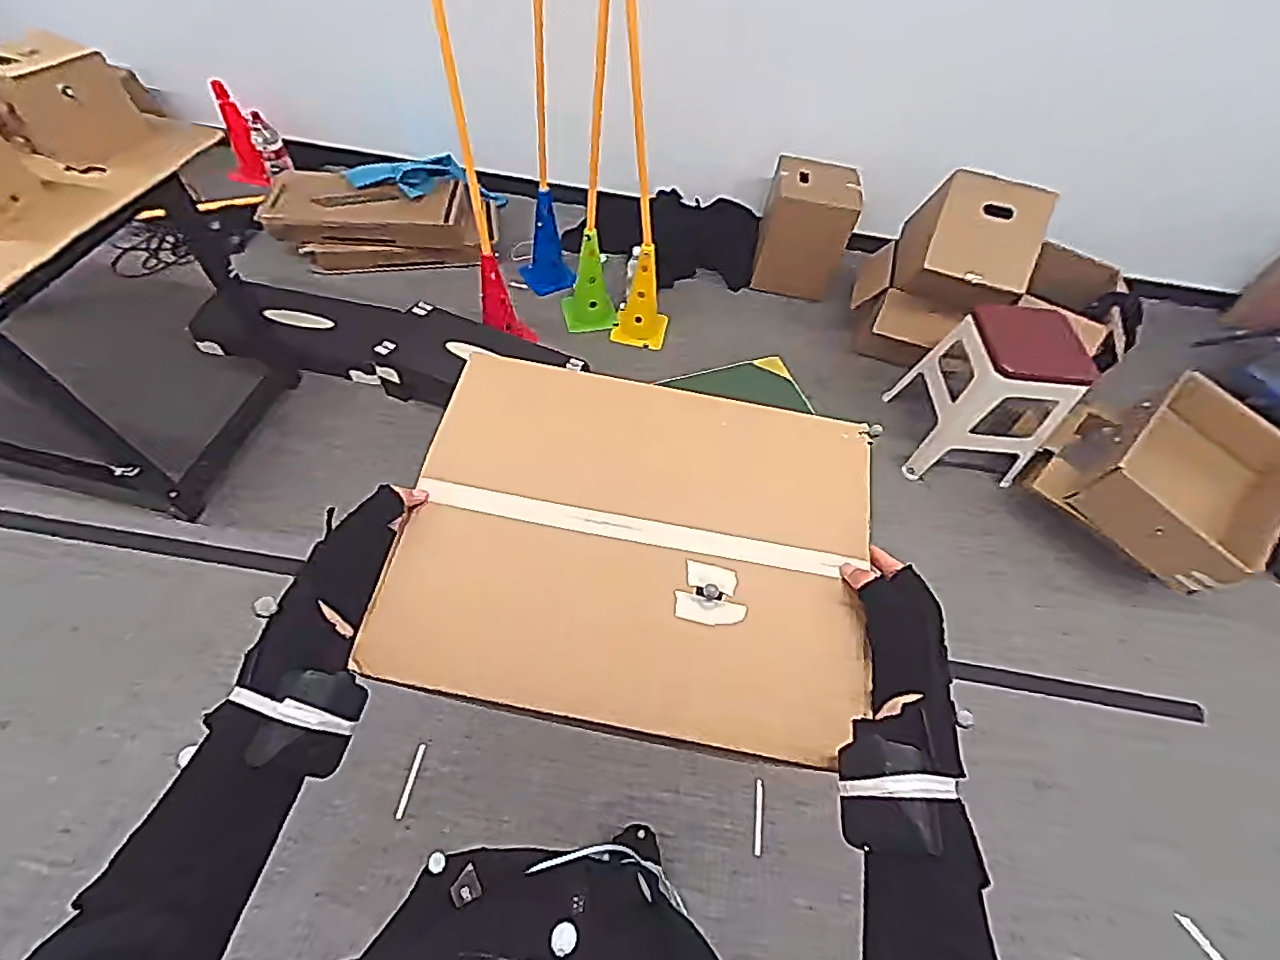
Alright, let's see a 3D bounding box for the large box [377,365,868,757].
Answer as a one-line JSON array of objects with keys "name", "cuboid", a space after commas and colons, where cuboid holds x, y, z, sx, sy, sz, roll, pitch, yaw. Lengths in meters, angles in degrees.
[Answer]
[{"name": "large box", "cuboid": [-0.004, 0.113, 0.623, 0.408, 0.320, 0.320, 11, 65, 0]}]
